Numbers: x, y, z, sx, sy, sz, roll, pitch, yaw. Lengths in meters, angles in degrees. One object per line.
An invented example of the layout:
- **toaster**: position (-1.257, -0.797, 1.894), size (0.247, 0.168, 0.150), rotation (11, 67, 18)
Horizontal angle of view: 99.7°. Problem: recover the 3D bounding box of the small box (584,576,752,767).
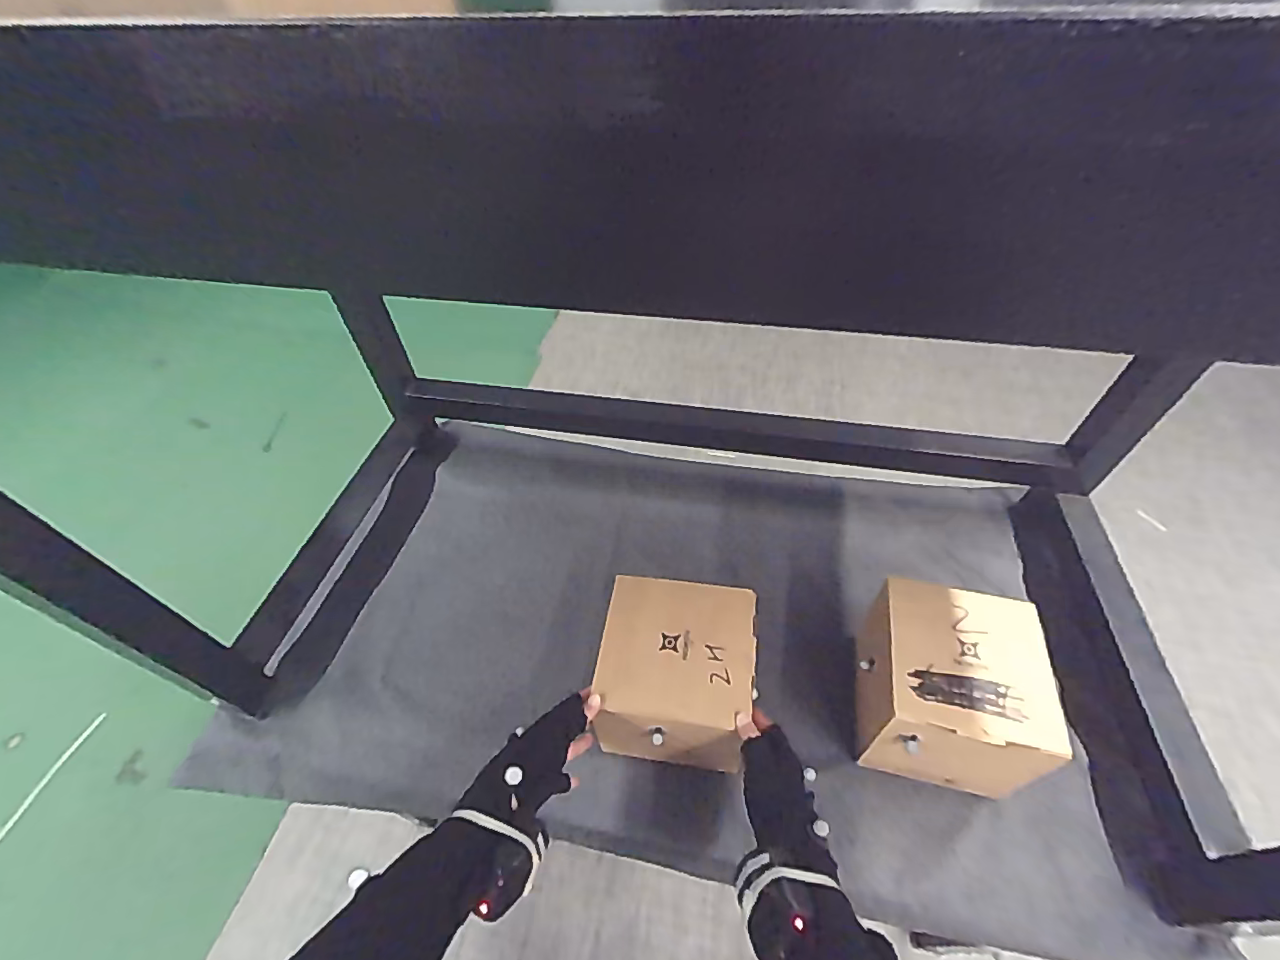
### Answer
- **small box**: position (0.041, 0.243, 0.679), size (0.179, 0.176, 0.168), rotation (6, 50, 8)
